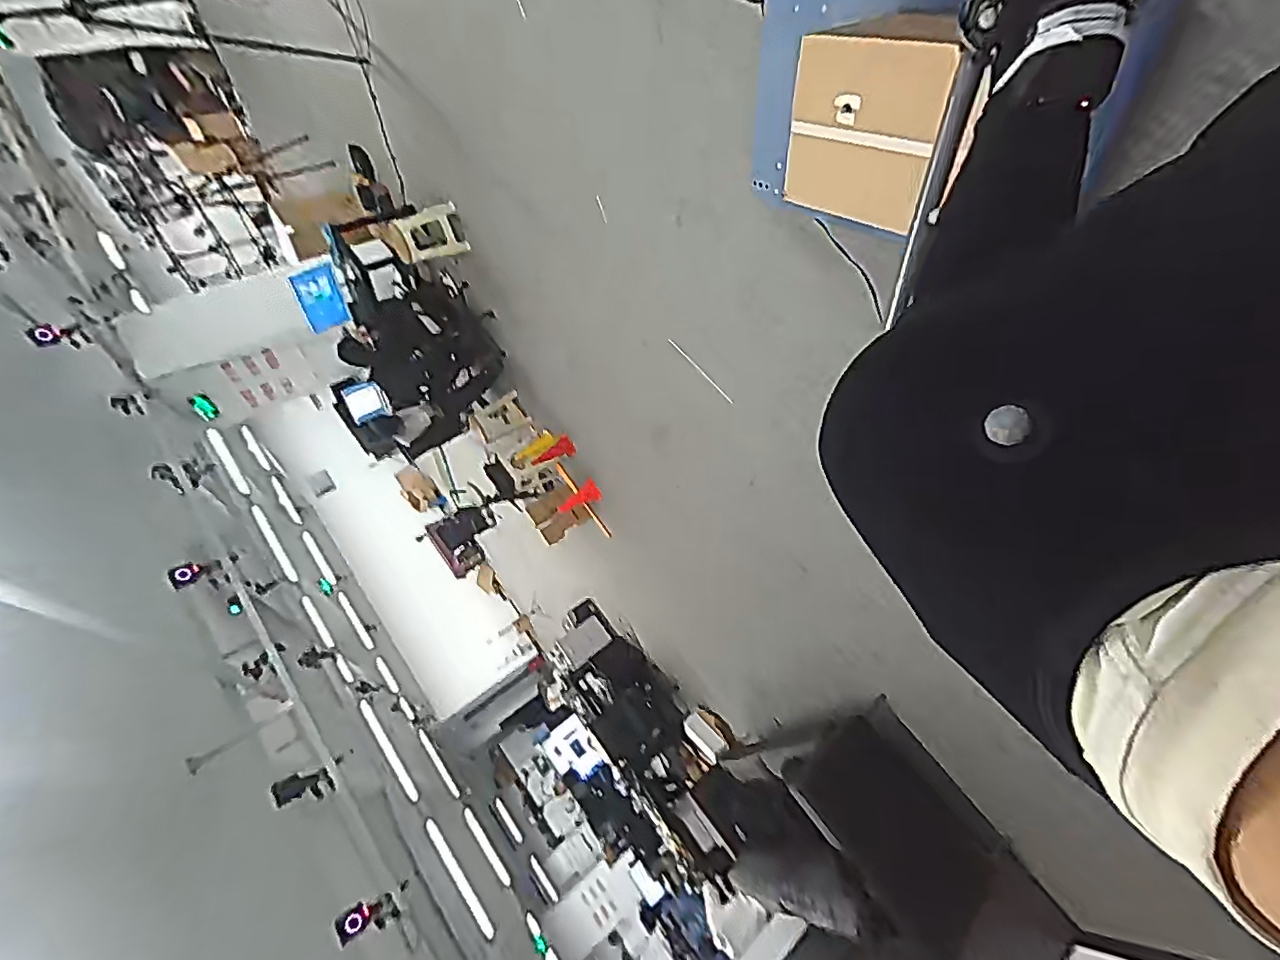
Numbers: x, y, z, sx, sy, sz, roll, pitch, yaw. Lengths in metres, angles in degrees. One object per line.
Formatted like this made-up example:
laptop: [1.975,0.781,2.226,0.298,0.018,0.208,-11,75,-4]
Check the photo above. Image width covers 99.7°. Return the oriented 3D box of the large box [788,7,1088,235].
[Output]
large box: [0.578,-0.757,1.121,0.408,0.320,0.320,40,150,35]
